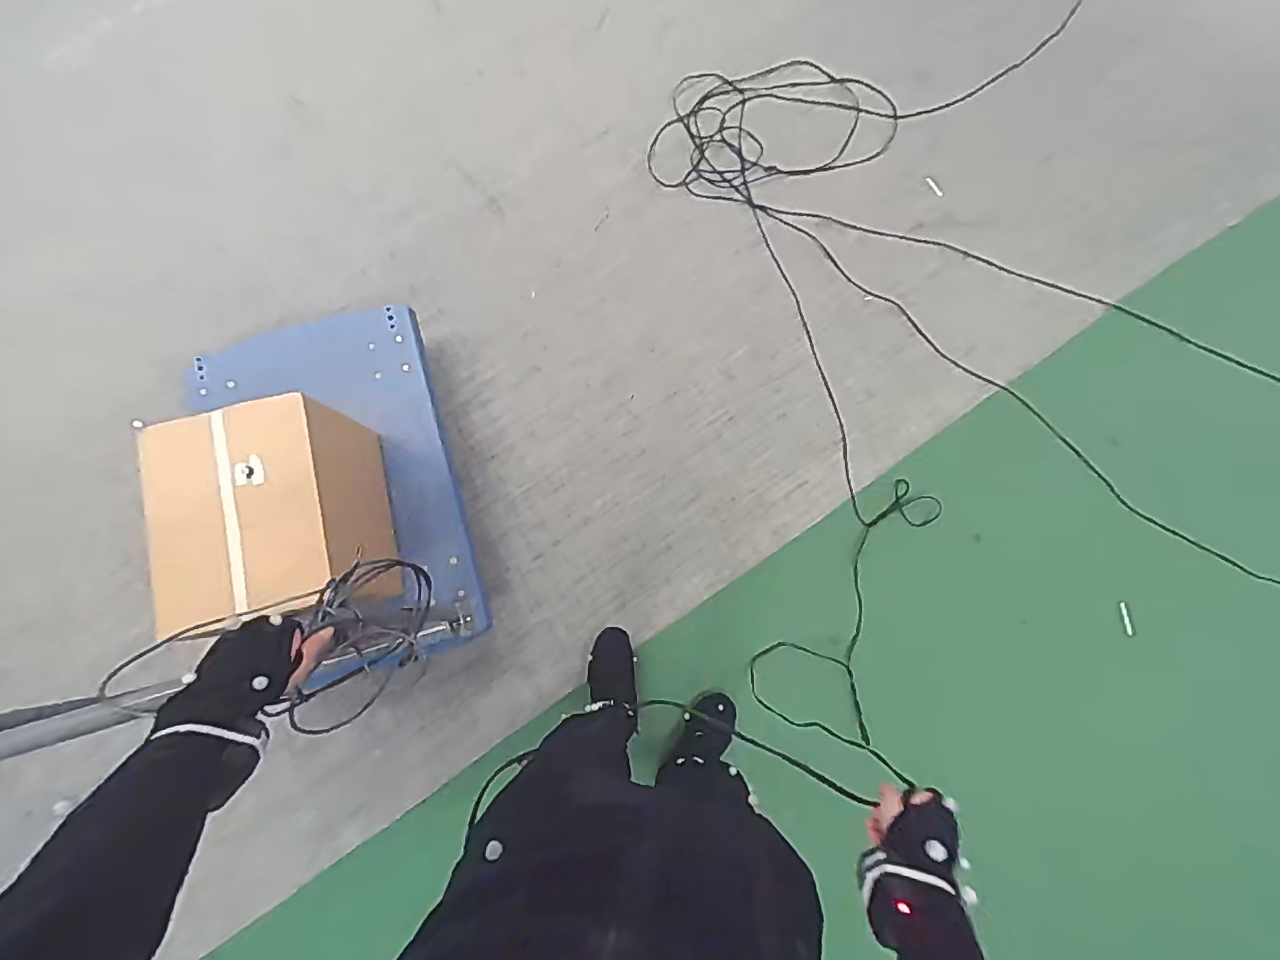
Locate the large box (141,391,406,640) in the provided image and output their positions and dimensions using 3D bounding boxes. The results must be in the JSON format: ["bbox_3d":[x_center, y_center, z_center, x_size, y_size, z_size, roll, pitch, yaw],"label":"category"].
[{"bbox_3d":[-0.730,0.082,1.124,0.320,0.320,0.408,-14,80,-4],"label":"large box"}]
